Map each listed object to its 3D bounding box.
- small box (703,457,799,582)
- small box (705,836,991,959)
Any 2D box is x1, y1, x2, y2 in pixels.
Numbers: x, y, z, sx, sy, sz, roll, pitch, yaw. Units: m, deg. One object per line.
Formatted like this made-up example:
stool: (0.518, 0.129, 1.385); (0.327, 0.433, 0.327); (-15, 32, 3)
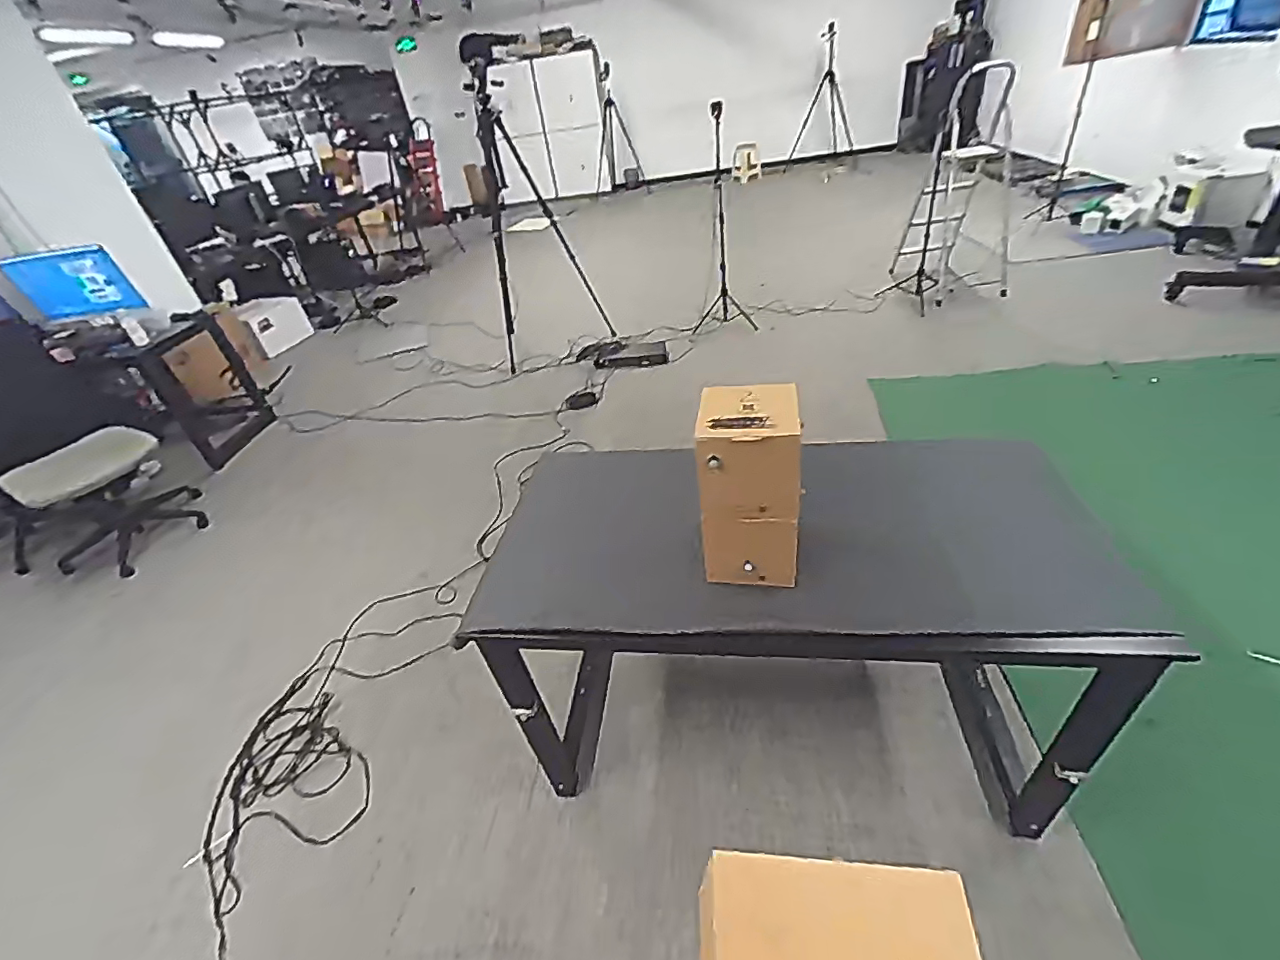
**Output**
small box: (0.218, 0.073, 1.044); (0.168, 0.176, 0.179); (1, 38, 15)
small box: (0.130, 0.367, 0.367); (0.168, 0.176, 0.179); (1, 47, 5)
